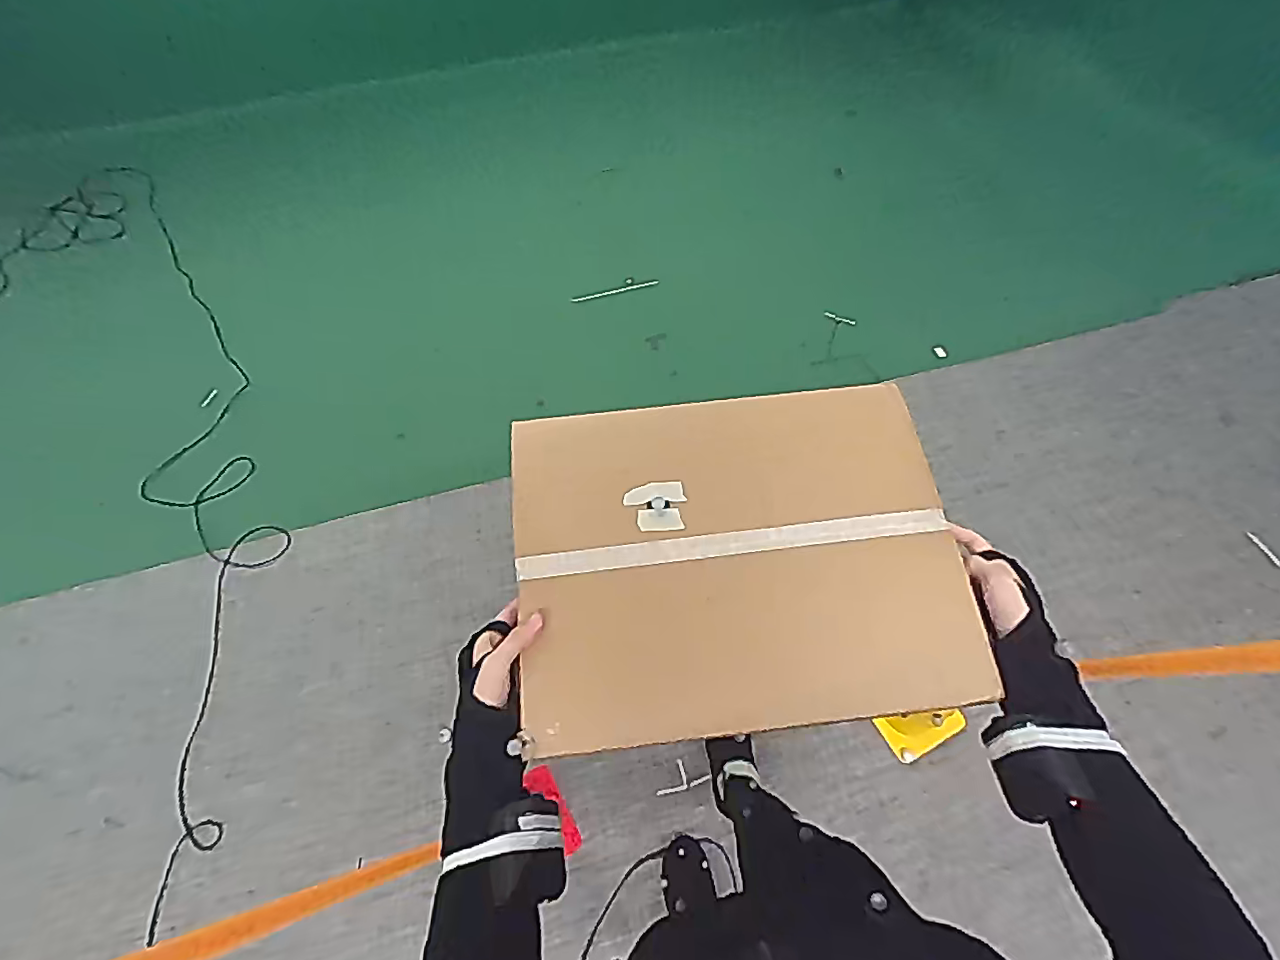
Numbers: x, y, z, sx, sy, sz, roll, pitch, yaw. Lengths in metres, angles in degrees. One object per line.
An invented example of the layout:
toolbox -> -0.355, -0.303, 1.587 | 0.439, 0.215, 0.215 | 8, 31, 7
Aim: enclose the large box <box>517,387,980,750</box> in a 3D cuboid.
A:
large box -> 0.091, 0.119, 0.660 | 0.408, 0.320, 0.320 | -7, 67, -1
